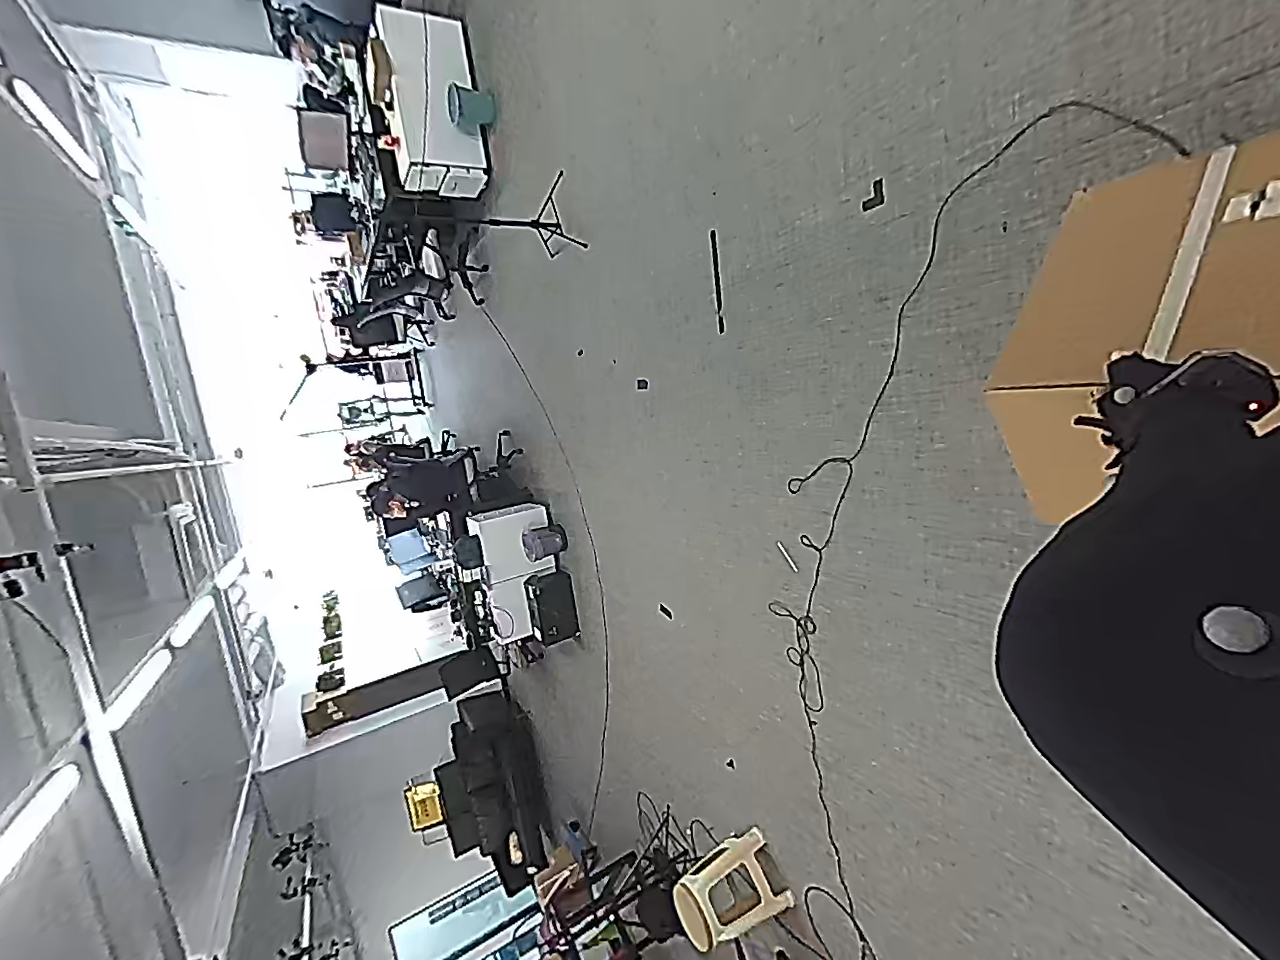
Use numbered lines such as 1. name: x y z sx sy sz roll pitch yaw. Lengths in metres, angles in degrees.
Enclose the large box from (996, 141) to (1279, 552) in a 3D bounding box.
1. large box: 0.736 -0.162 0.702 0.320 0.408 0.320 46 159 -30
